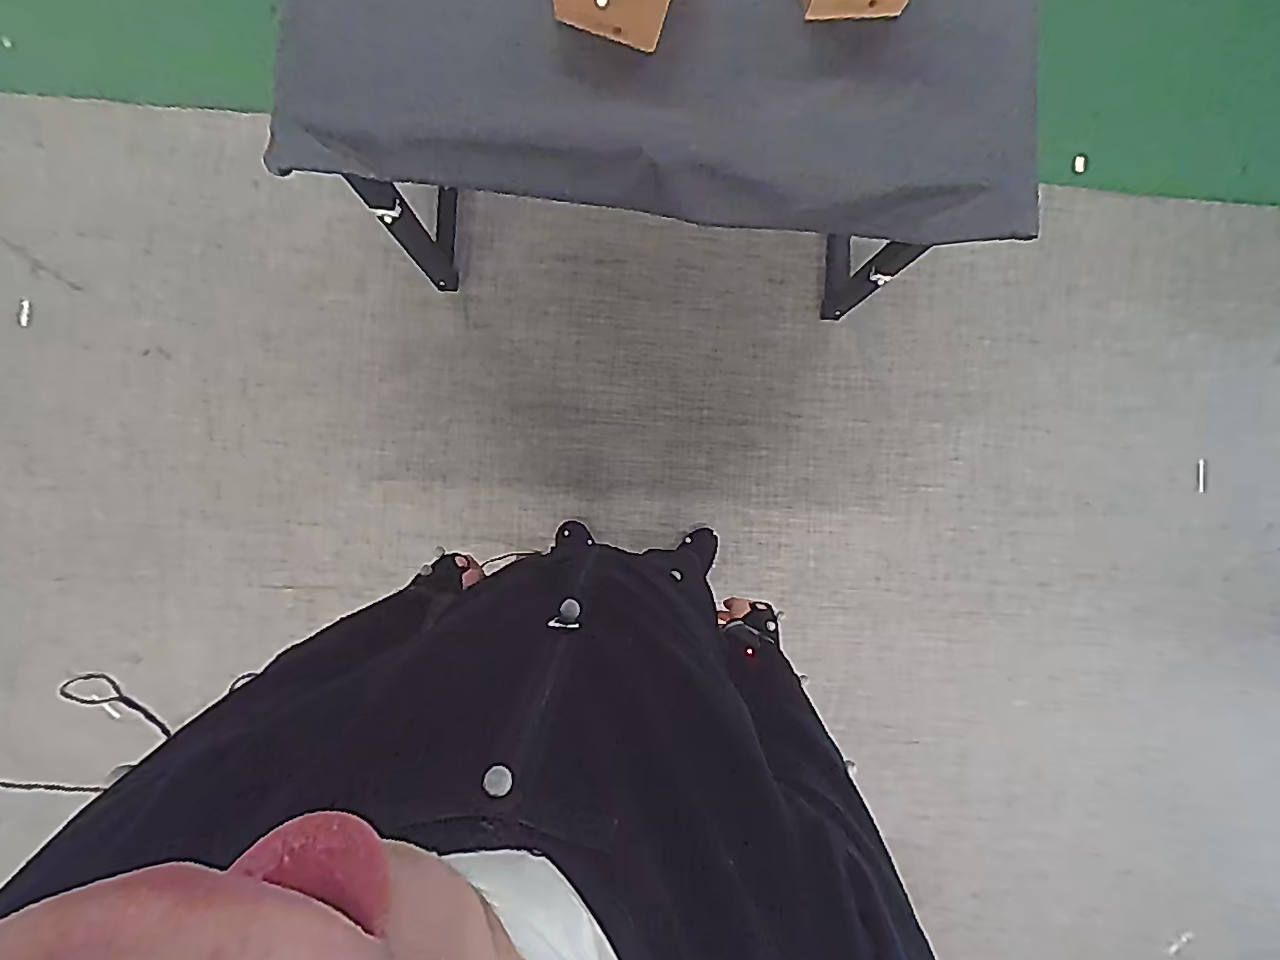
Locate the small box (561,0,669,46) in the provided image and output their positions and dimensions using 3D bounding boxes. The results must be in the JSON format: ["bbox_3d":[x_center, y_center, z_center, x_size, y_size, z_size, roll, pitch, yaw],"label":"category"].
[{"bbox_3d":[-0.024,-0.787,0.777,0.168,0.176,0.179,17,87,-4],"label":"small box"}]

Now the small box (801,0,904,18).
[{"bbox_3d":[0.343,-0.840,0.807,0.168,0.176,0.179,-5,88,-6],"label":"small box"}]
